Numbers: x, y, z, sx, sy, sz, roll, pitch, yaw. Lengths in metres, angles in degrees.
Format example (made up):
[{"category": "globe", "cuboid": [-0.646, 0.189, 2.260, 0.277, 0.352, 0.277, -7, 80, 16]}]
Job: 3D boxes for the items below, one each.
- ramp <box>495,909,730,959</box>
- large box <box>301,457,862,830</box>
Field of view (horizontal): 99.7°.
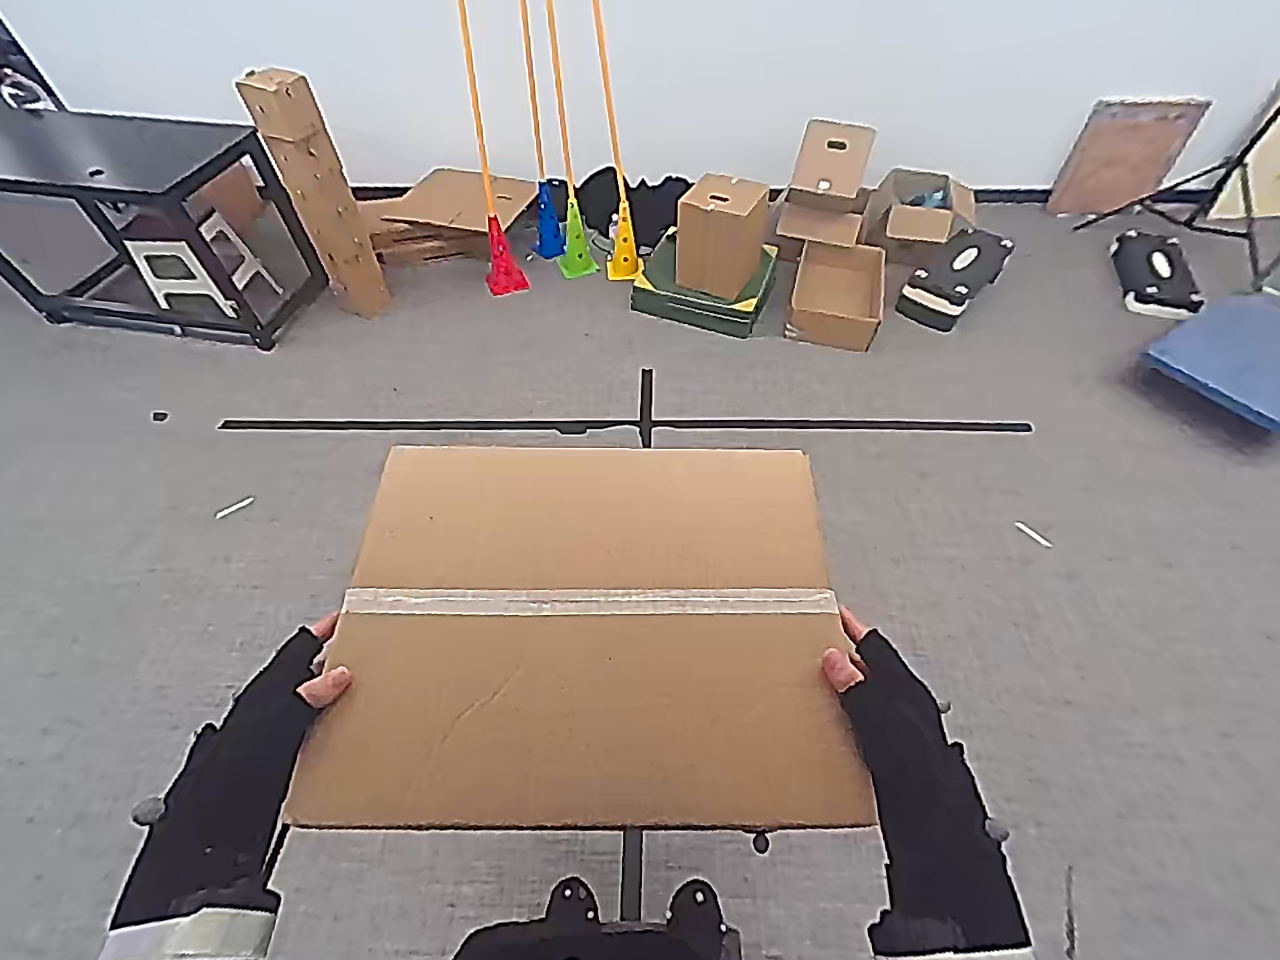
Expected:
[{"category": "ramp", "cuboid": [-0.062, 1.365, 0.928, 0.509, 0.206, 0.991, 1, 53, -2]}, {"category": "large box", "cuboid": [-0.042, 0.186, 0.583, 0.408, 0.320, 0.320, 1, 58, -2]}]
